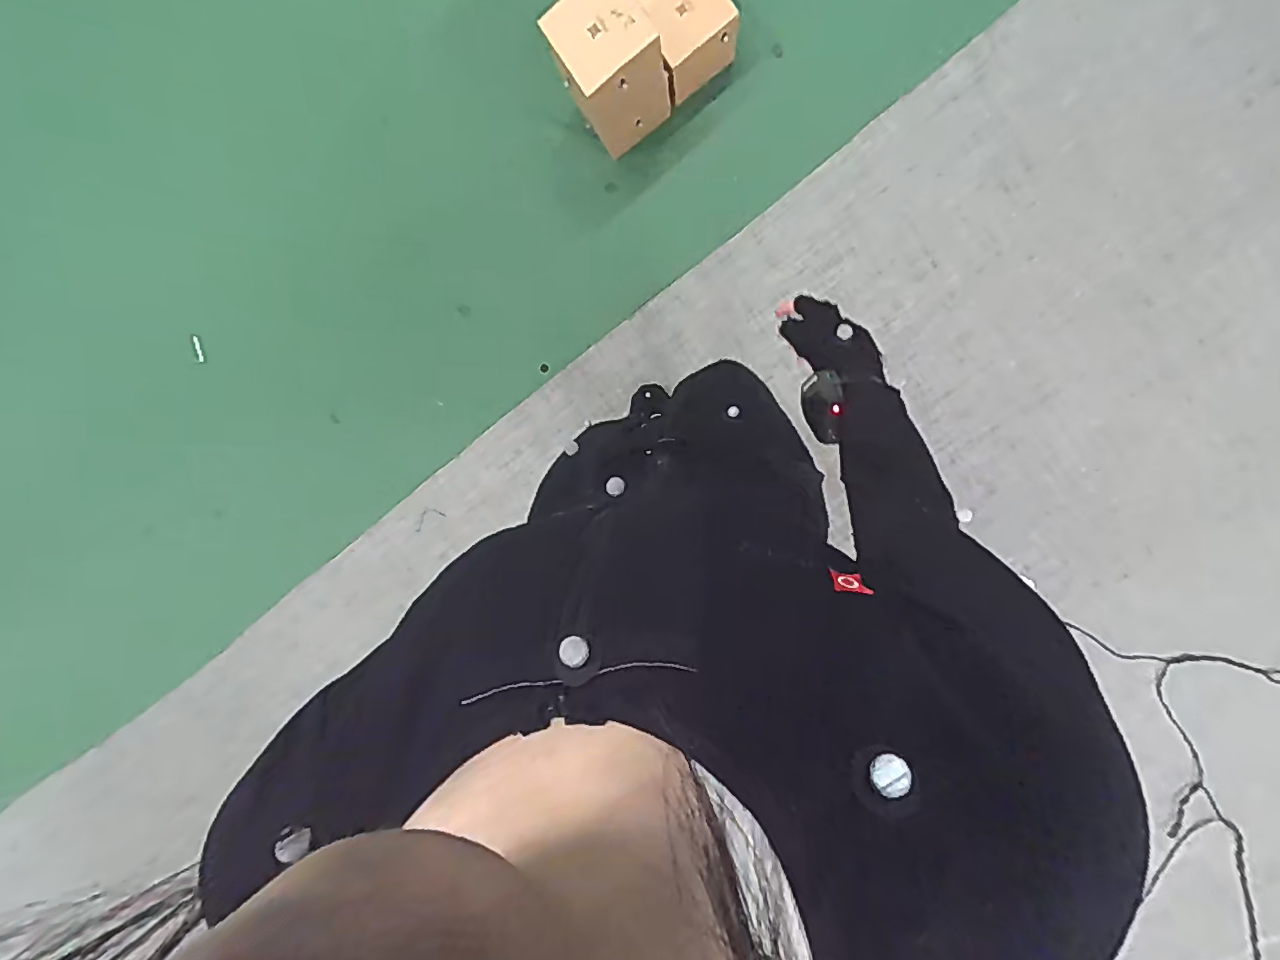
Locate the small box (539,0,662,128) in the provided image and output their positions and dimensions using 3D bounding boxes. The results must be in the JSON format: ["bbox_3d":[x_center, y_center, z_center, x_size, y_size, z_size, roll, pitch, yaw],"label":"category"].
[{"bbox_3d":[-0.069,-0.862,1.090,0.179,0.176,0.168,-34,96,11],"label":"small box"}]
